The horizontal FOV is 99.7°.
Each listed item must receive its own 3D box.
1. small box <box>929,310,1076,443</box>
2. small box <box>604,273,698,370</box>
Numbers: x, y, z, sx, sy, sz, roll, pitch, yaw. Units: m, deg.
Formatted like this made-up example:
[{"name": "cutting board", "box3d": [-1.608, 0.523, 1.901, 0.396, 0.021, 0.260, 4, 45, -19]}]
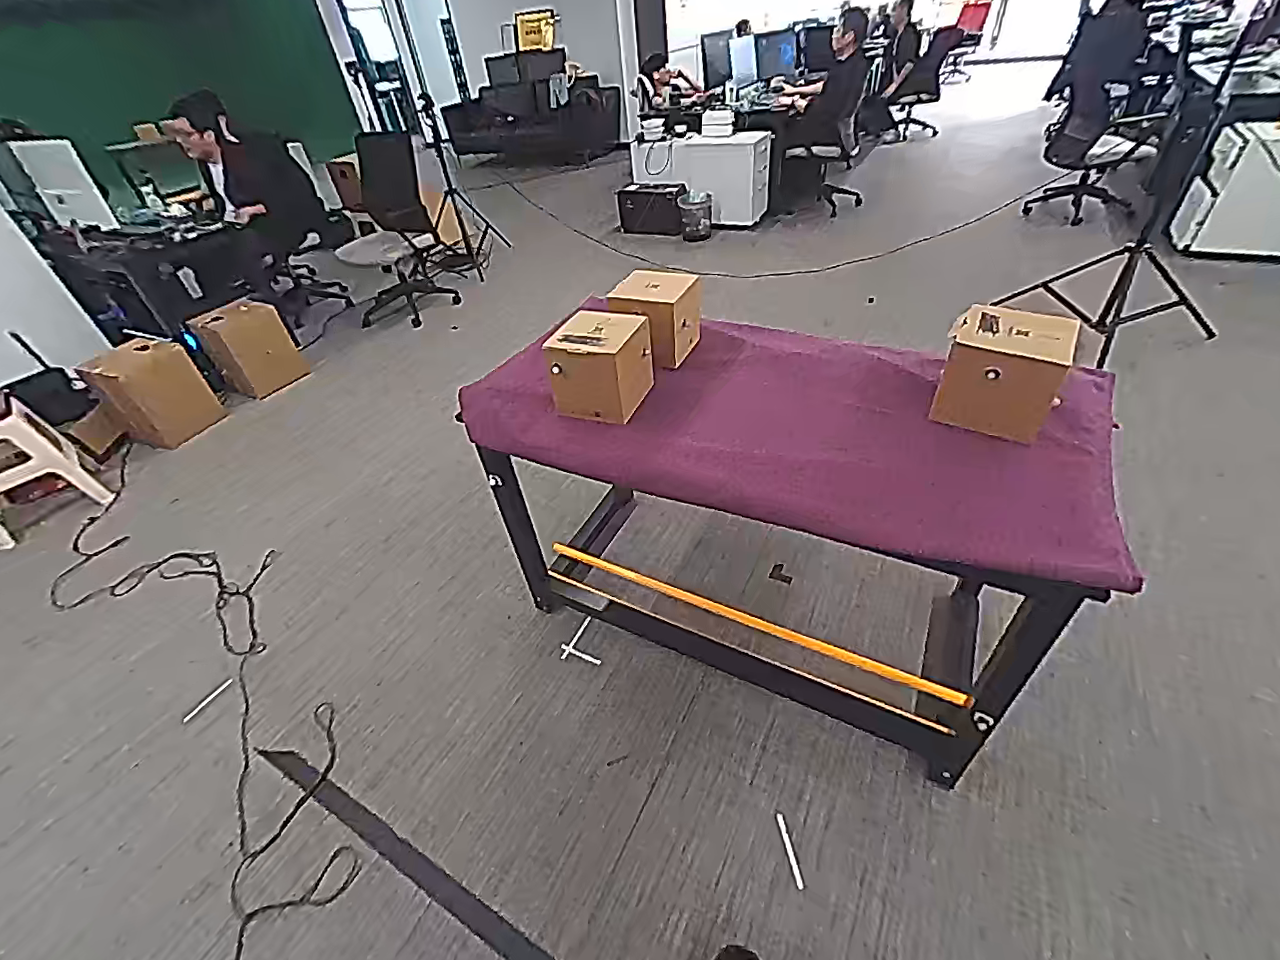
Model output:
[{"name": "small box", "box3d": [0.664, -0.193, 1.005, 0.179, 0.176, 0.168, 22, 50, 28]}, {"name": "small box", "box3d": [0.035, -0.385, 1.320, 0.179, 0.176, 0.168, 13, 45, 22]}]
